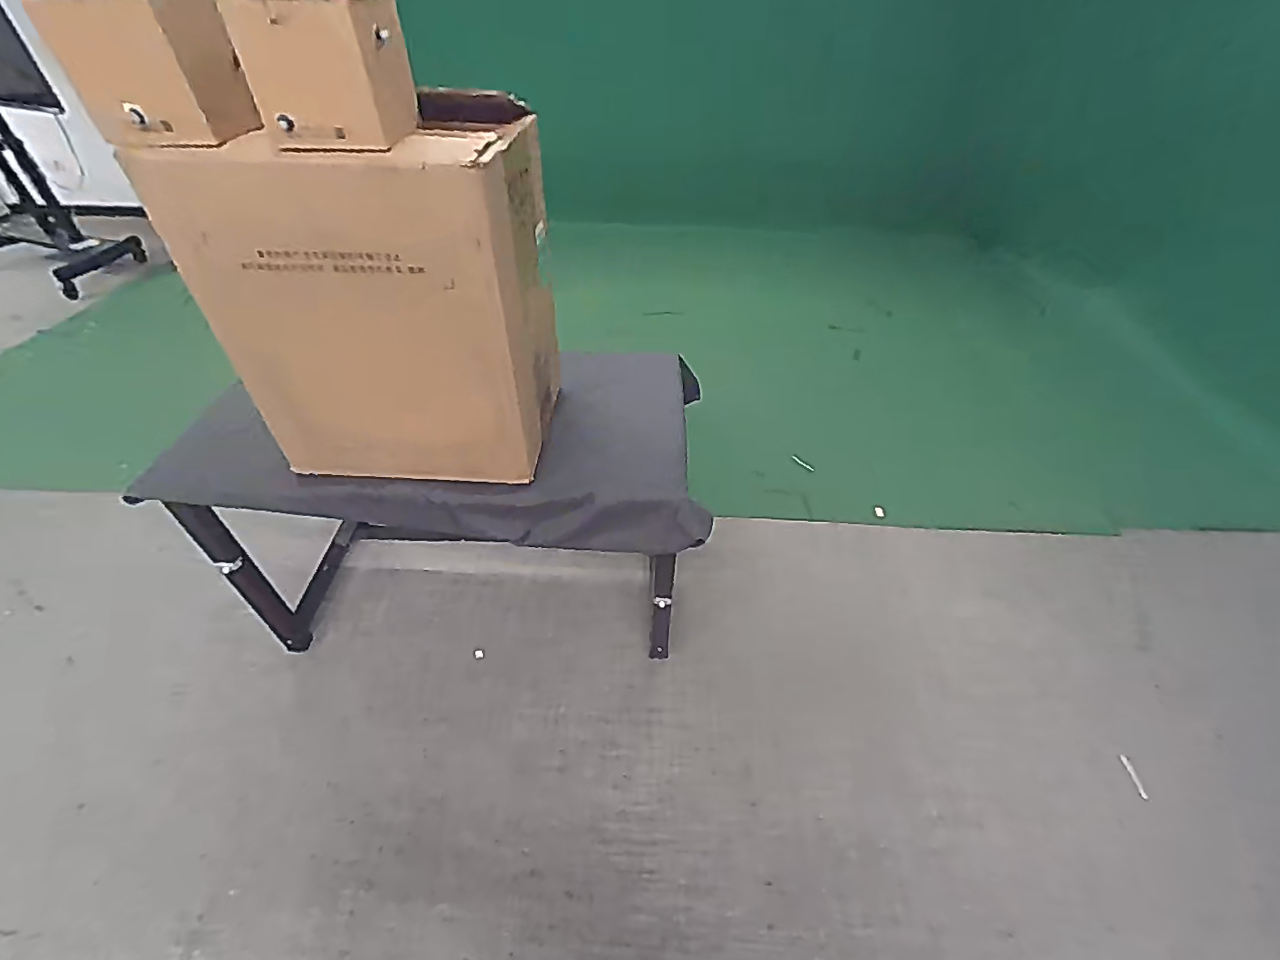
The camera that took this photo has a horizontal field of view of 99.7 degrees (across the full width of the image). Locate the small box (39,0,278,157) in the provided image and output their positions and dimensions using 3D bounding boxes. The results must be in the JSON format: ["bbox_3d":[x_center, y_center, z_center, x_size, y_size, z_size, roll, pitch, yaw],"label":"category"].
[{"bbox_3d":[-0.683,-0.595,0.801,0.168,0.176,0.179,-1,45,2],"label":"small box"}]

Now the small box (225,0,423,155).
[{"bbox_3d":[-0.436,-0.586,0.787,0.168,0.176,0.179,1,43,0],"label":"small box"}]
